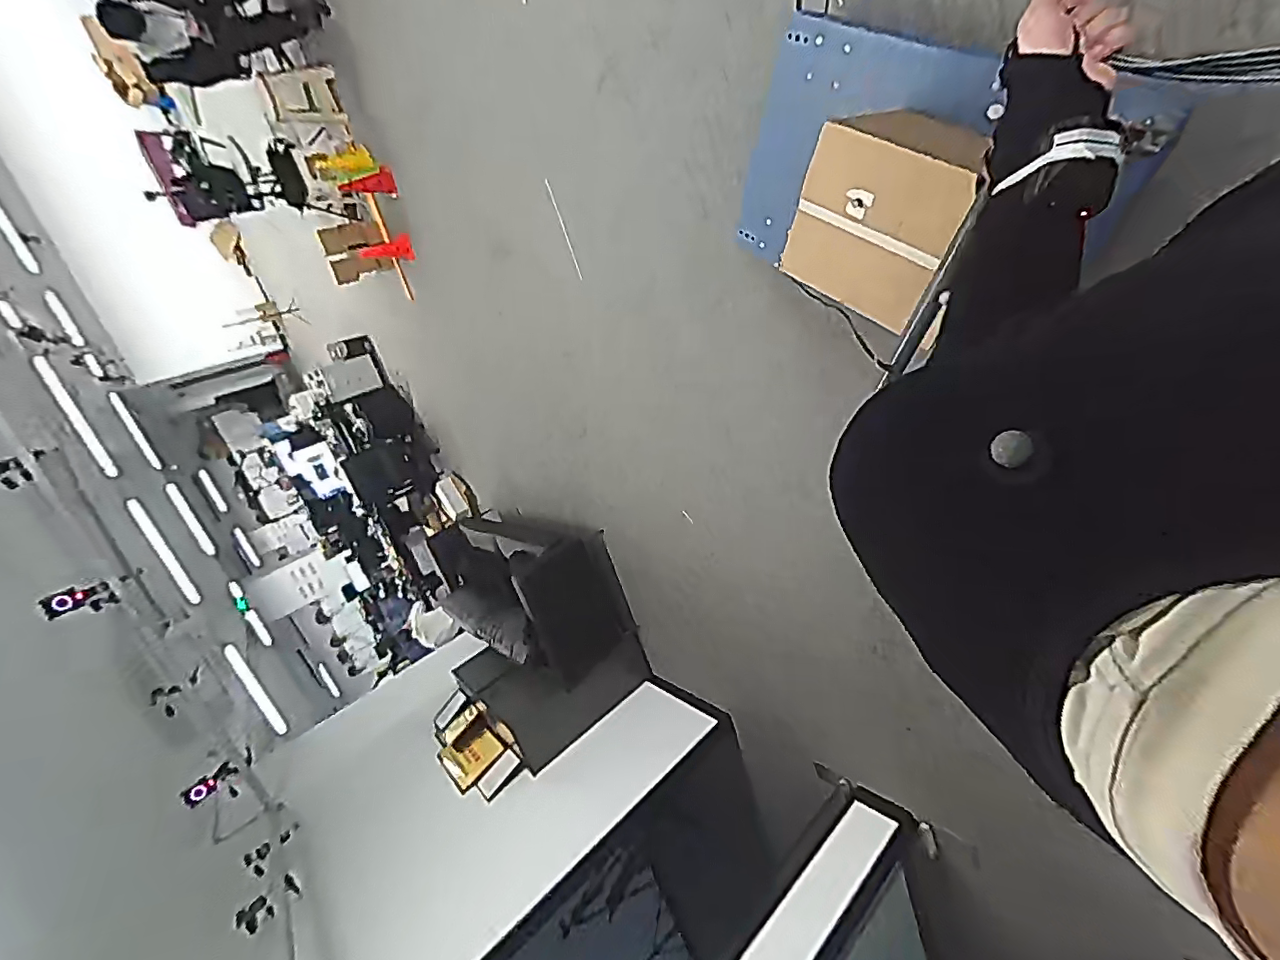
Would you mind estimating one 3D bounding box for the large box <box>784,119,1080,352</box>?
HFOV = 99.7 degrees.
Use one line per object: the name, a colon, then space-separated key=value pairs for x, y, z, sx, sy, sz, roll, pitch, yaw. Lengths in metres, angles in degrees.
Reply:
large box: x=0.600 y=-0.540 z=1.166 sx=0.408 sy=0.320 sz=0.320 roll=43 pitch=144 yaw=28
